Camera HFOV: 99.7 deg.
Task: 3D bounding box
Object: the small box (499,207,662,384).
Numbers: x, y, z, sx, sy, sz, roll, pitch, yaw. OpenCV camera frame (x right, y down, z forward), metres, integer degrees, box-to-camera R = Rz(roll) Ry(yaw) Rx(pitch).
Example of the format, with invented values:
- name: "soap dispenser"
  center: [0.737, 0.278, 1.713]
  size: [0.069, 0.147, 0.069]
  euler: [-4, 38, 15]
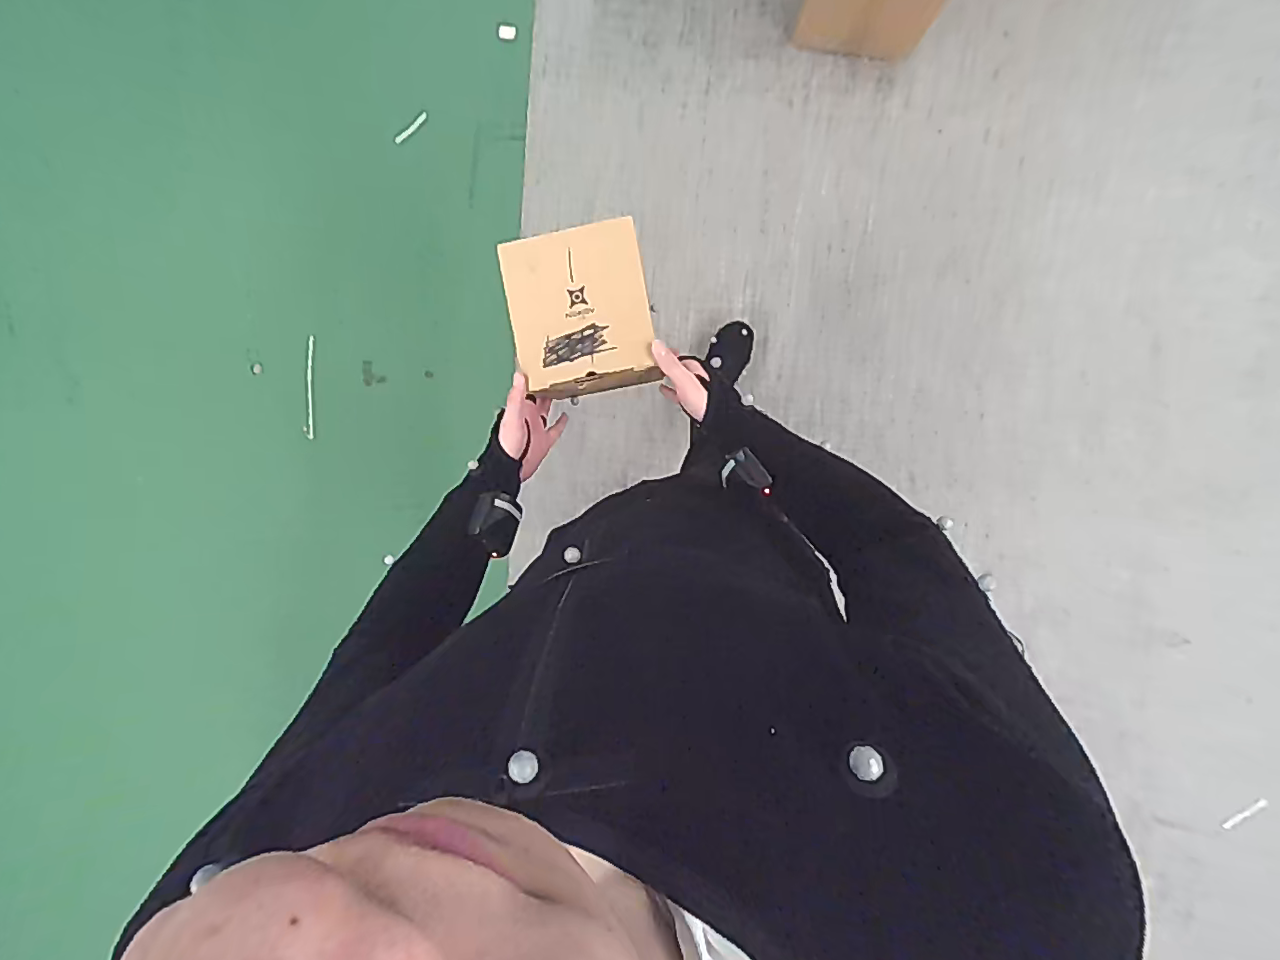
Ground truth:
- name: "small box"
  center: [-0.067, -0.227, 0.719]
  size: [0.168, 0.176, 0.179]
  euler: [-9, 94, 6]
